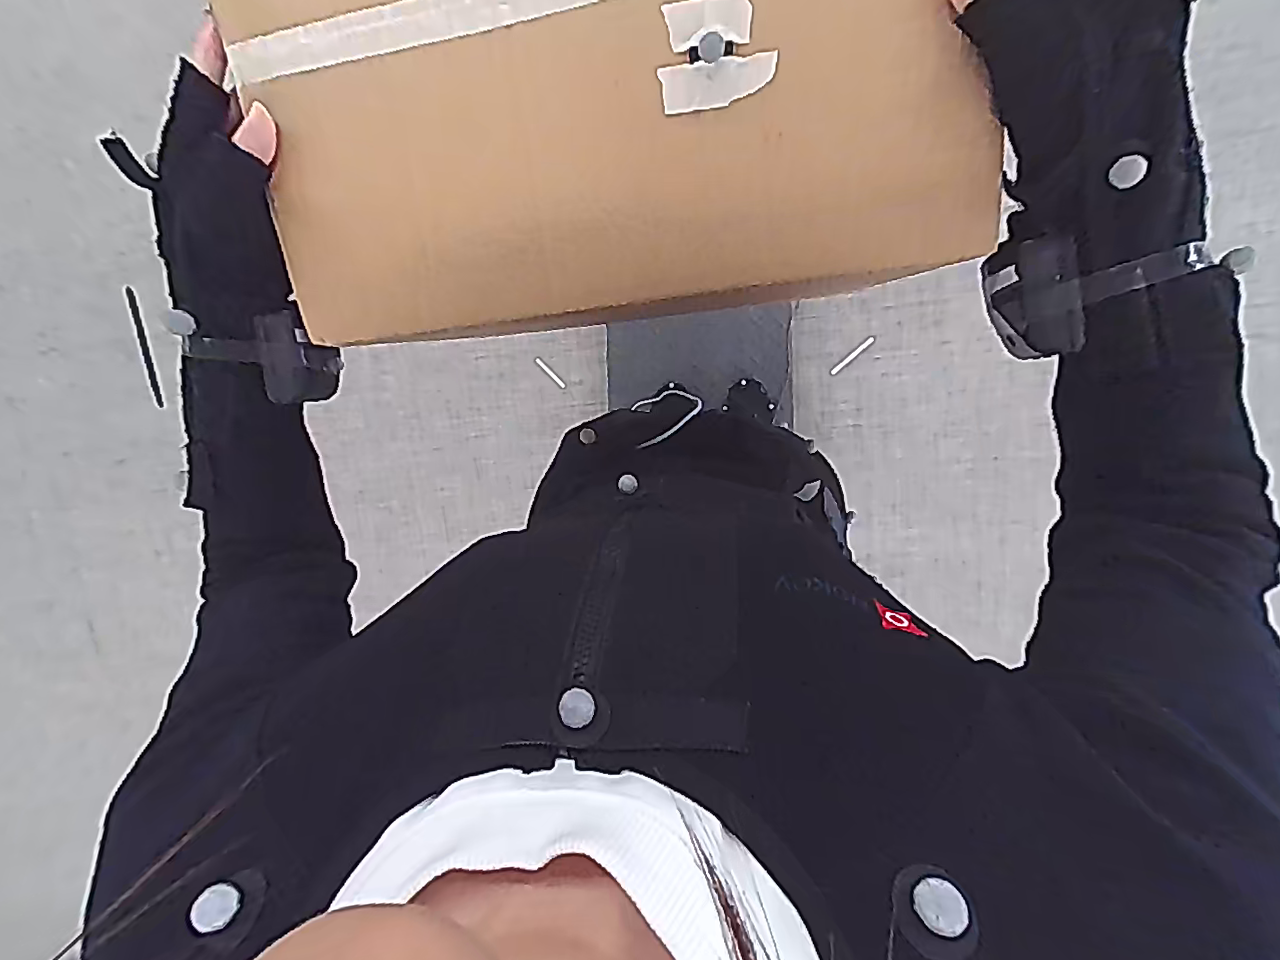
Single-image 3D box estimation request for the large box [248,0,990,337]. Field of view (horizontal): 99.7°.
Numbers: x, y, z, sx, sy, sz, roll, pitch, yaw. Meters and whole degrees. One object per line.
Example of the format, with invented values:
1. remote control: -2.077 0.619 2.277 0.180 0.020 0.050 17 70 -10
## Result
1. large box: -0.009 -0.300 0.429 0.408 0.320 0.320 -5 106 9
